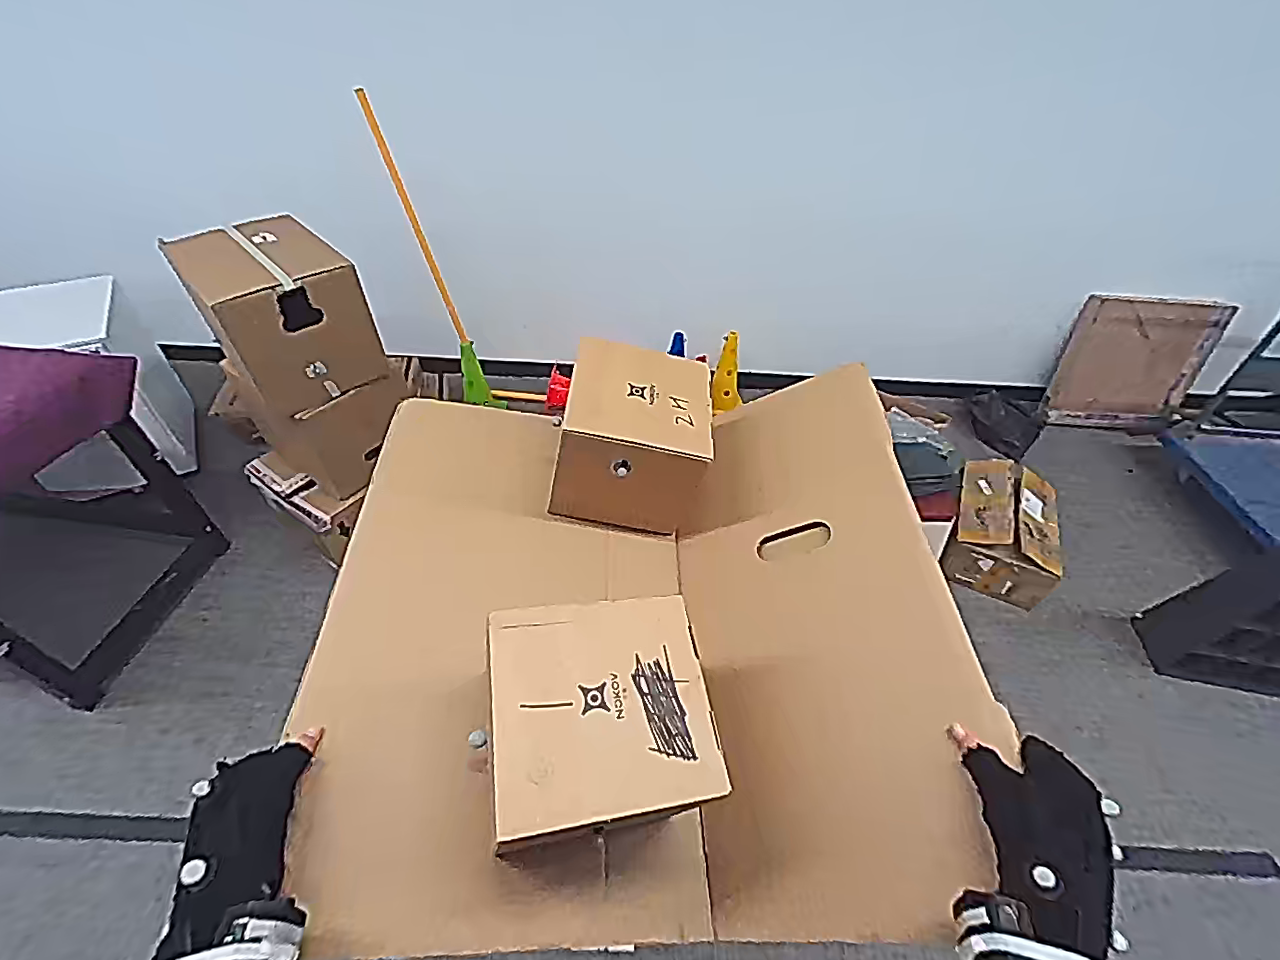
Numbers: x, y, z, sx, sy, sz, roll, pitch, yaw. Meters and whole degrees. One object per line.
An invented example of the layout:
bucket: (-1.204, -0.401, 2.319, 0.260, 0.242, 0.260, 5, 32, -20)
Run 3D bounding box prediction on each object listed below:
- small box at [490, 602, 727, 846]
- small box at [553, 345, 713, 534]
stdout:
small box: (-0.046, 0.226, 0.502, 0.179, 0.176, 0.168, 0, 54, -17)
small box: (-0.013, -0.047, 0.720, 0.179, 0.176, 0.168, 12, 51, -8)
